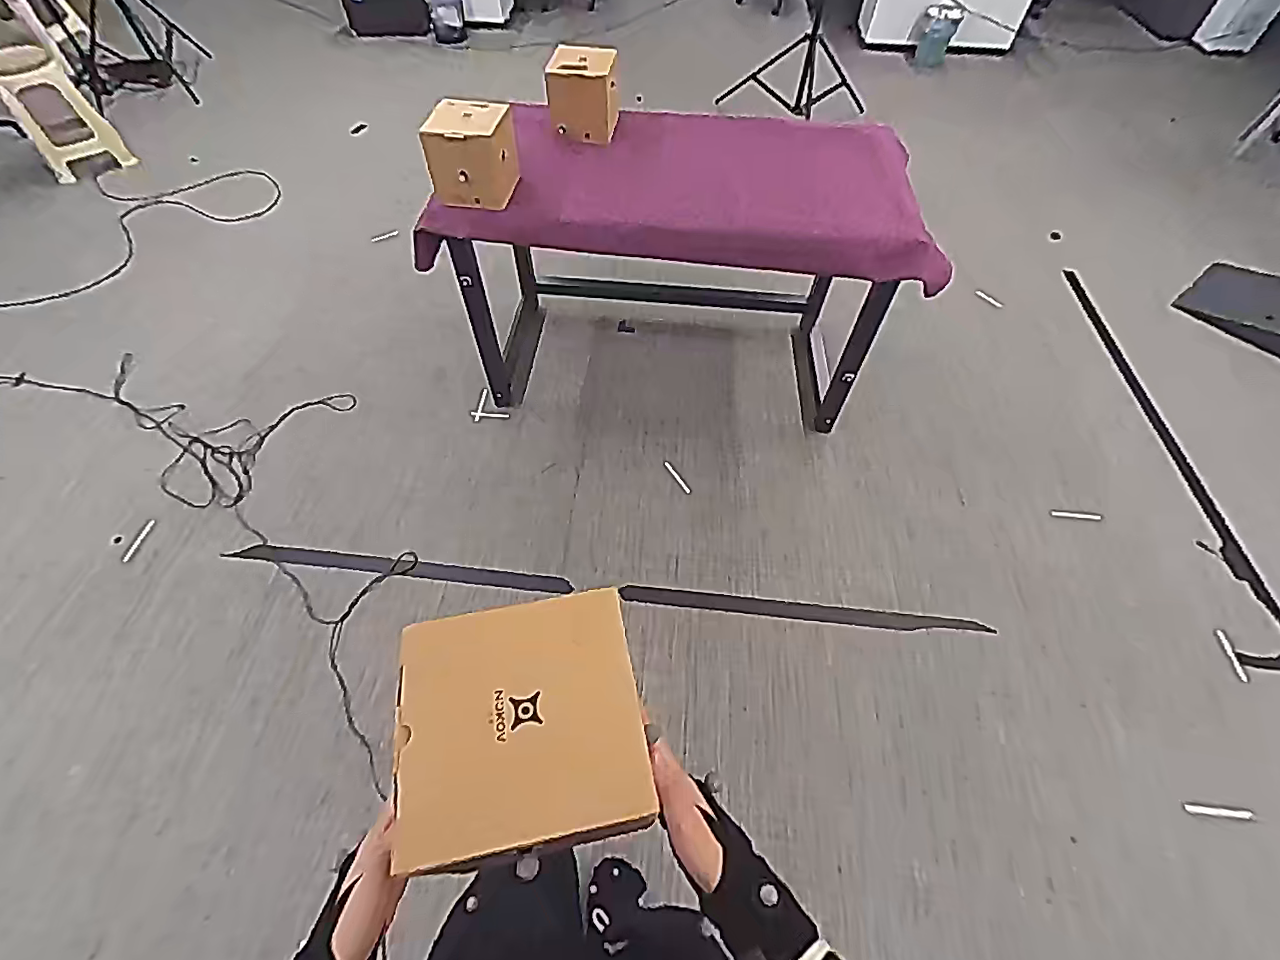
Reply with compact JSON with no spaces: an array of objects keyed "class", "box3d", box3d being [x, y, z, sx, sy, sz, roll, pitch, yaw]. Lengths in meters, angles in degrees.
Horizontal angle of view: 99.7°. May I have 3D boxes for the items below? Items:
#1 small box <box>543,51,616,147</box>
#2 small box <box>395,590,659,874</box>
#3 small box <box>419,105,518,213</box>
[{"class":"small box","box3d":[-0.159,-1.055,1.503,0.168,0.176,0.179,7,57,3]},{"class":"small box","box3d":[-0.087,0.215,0.463,0.179,0.176,0.168,-11,56,-6]},{"class":"small box","box3d":[-0.402,-0.769,1.304,0.168,0.176,0.179,6,56,2]}]
